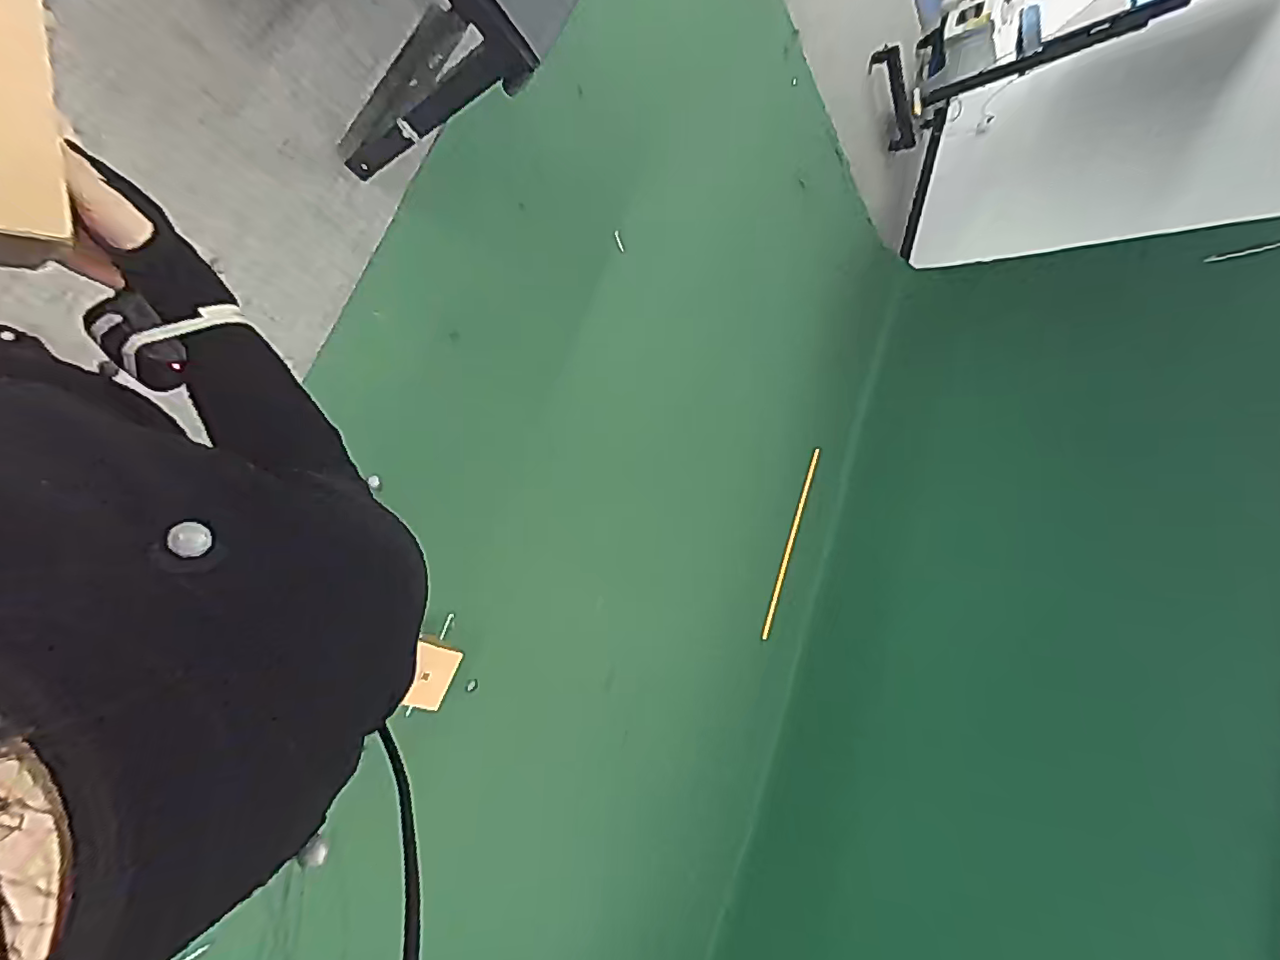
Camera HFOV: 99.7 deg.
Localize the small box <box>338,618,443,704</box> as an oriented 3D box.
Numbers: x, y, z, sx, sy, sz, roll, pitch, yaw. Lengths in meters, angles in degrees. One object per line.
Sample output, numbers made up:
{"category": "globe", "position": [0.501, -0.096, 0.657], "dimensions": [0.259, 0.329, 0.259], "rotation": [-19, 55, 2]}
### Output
{"category": "small box", "position": [-0.698, 0.503, 1.512], "dimensions": [0.179, 0.176, 0.168], "rotation": [38, 68, -44]}
